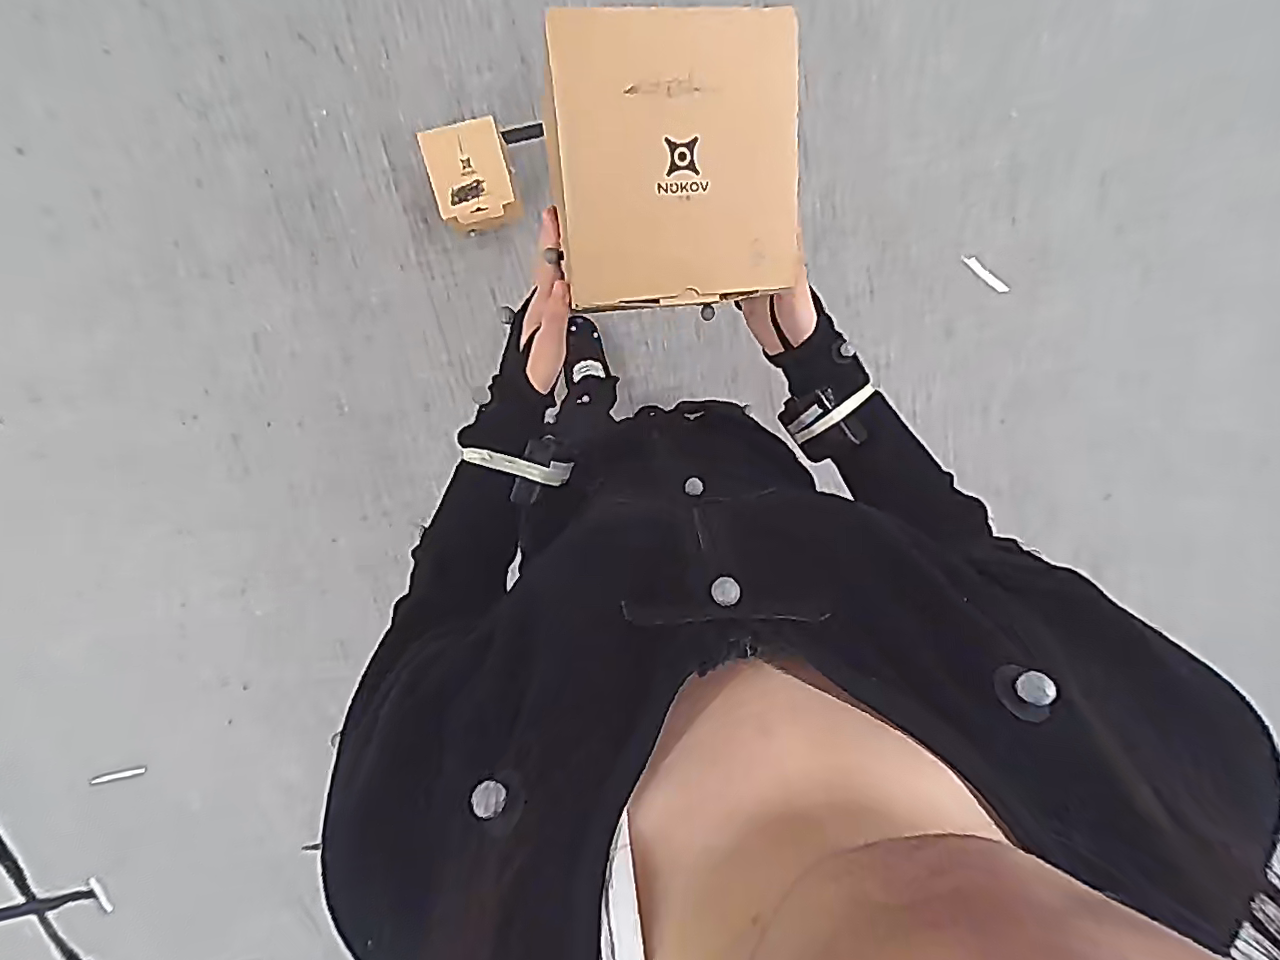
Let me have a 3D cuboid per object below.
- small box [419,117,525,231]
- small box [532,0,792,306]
[{"bbox_3d":[-0.371,-0.682,1.230,0.168,0.176,0.179,-14,104,-1],"label":"small box"},{"bbox_3d":[0.009,-0.237,0.435,0.168,0.176,0.179,-9,106,-9],"label":"small box"}]
